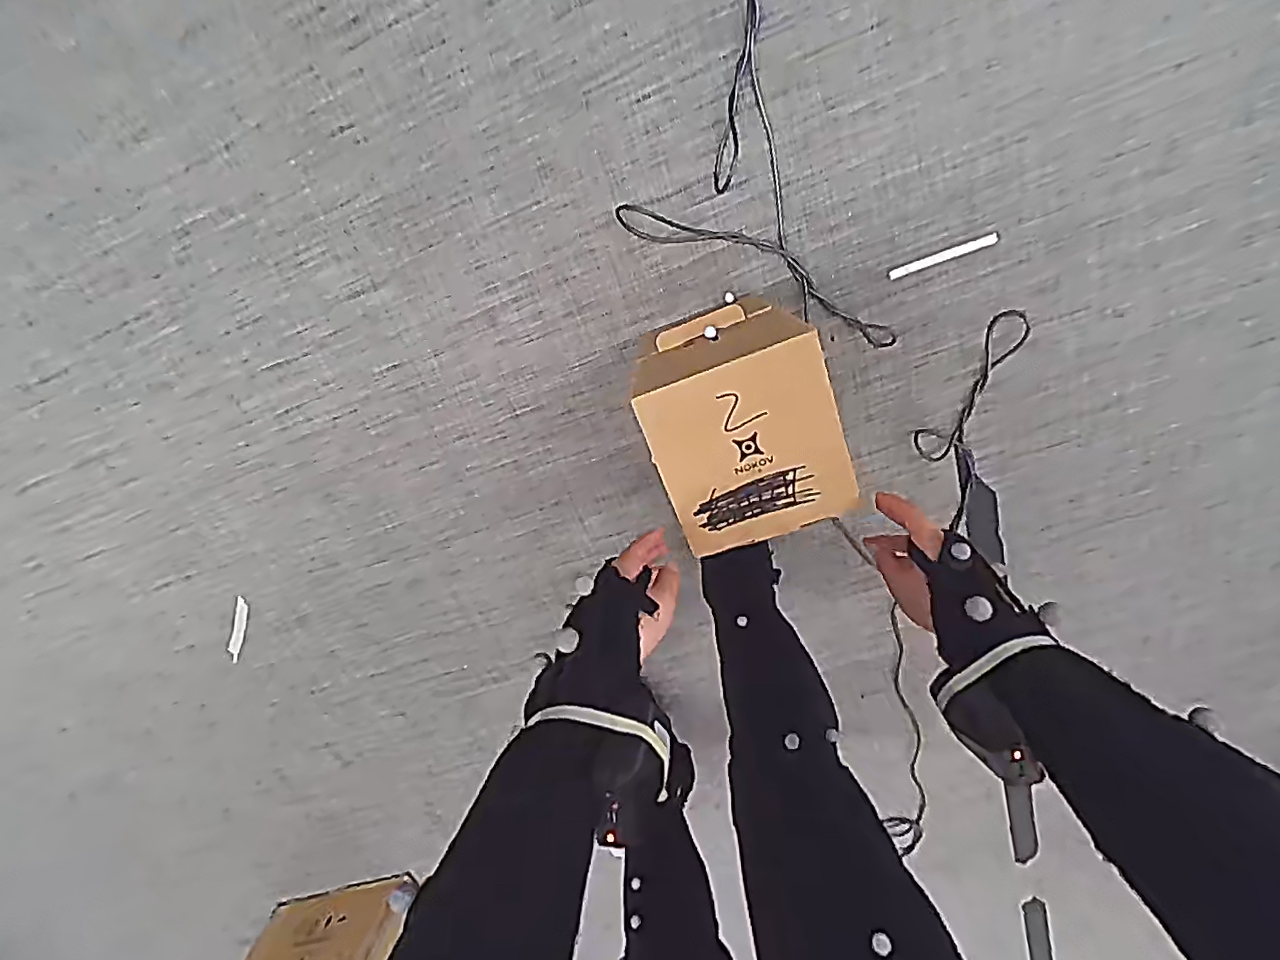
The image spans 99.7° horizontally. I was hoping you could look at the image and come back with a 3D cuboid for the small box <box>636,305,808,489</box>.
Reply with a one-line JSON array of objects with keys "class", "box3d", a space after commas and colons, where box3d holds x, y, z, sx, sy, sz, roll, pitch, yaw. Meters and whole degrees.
[{"class": "small box", "box3d": [0.101, -0.118, 0.710, 0.168, 0.176, 0.179, -19, 112, 11]}]
